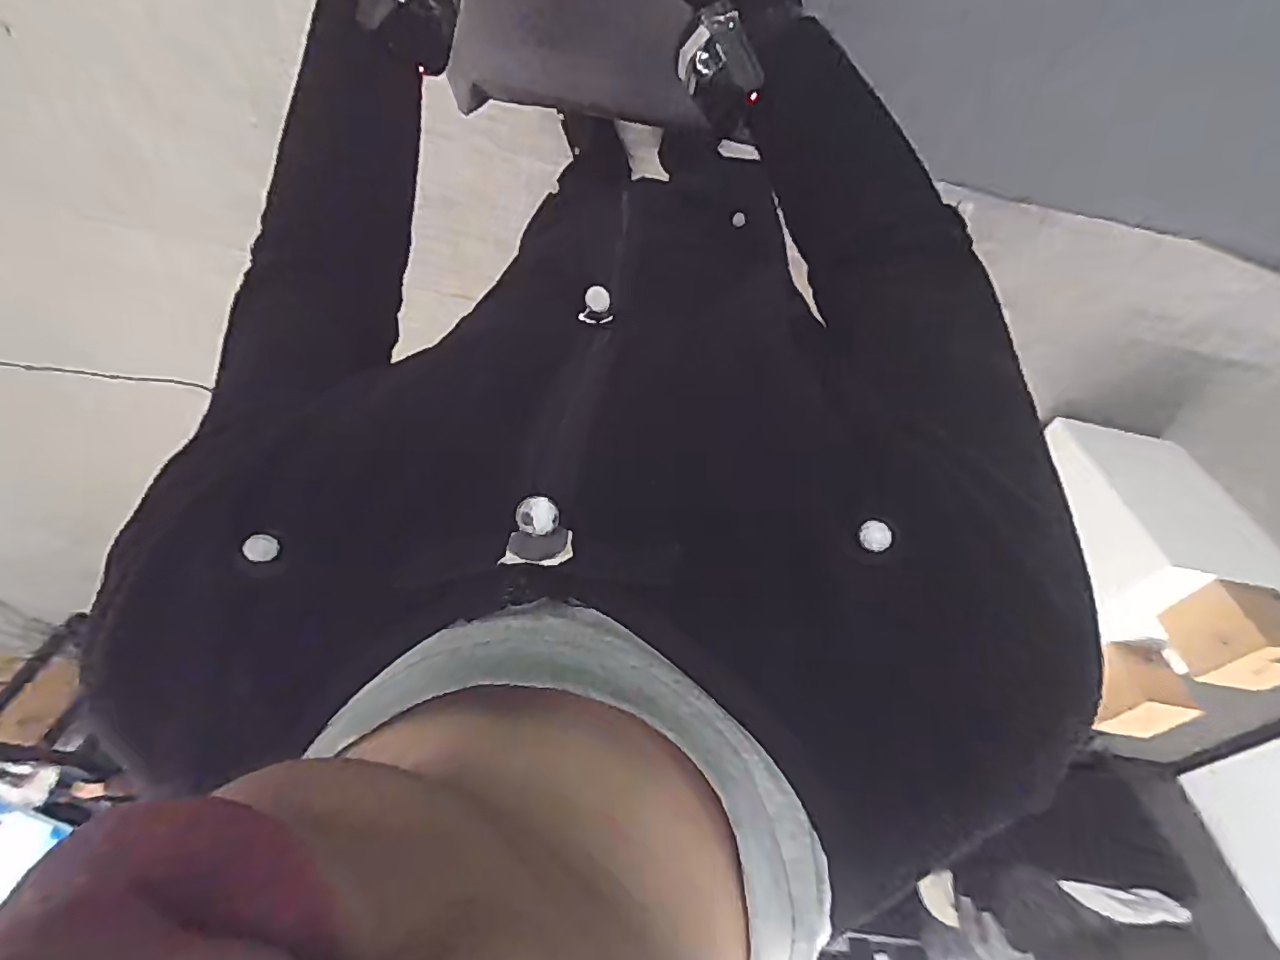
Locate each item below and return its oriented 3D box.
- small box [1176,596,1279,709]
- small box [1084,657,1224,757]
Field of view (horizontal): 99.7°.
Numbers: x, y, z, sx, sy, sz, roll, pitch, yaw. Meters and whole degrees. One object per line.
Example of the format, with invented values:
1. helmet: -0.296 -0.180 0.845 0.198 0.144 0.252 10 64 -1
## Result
1. small box: 1.366 0.378 1.193 0.168 0.176 0.179 10 135 -2
2. small box: 1.307 0.586 1.398 0.168 0.176 0.179 12 132 -5
